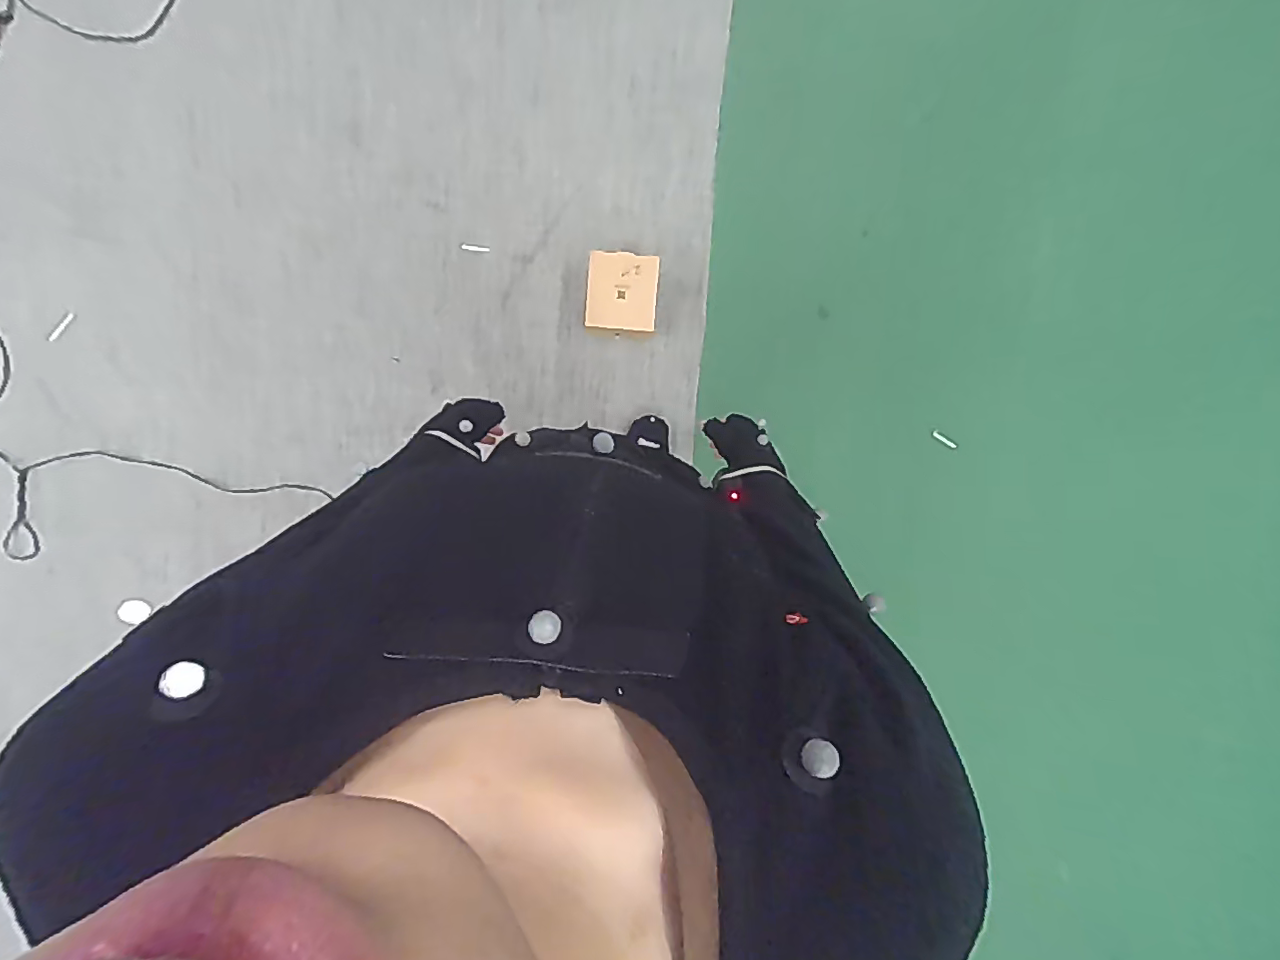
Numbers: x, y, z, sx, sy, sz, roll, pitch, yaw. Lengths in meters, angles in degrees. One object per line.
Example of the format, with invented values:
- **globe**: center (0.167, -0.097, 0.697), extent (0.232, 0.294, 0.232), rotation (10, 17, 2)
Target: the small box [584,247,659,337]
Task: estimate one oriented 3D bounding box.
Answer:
- **small box**: center (-0.046, -0.455, 1.338), extent (0.168, 0.176, 0.179), rotation (4, 97, -3)
